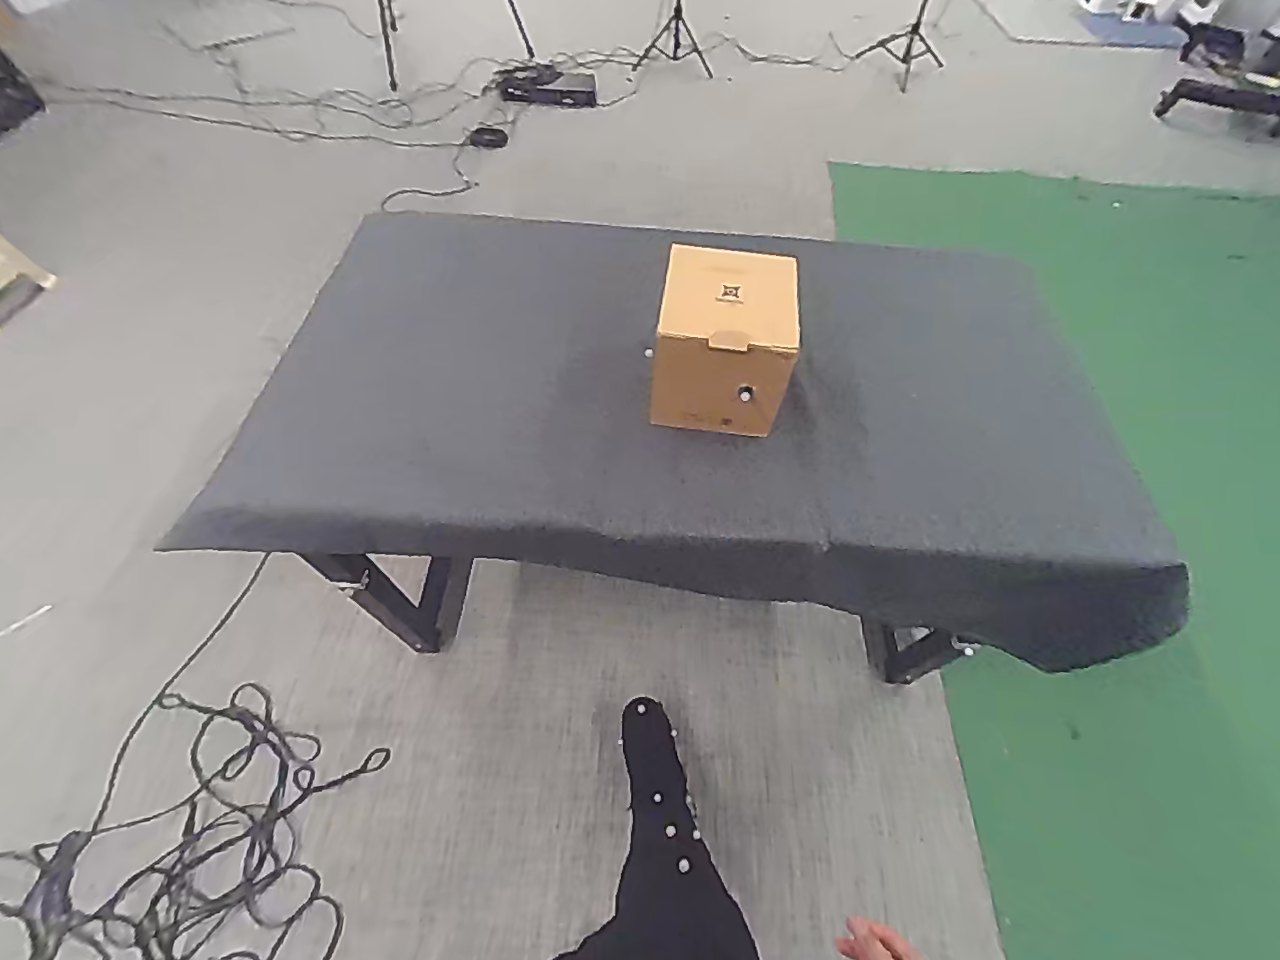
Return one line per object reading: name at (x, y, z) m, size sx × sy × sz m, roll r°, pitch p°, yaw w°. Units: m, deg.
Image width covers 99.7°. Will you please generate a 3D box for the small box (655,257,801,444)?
small box at (0.113, -0.170, 0.732) m, size 0.168 × 0.176 × 0.179 m, roll 8°, pitch 55°, yaw 2°
